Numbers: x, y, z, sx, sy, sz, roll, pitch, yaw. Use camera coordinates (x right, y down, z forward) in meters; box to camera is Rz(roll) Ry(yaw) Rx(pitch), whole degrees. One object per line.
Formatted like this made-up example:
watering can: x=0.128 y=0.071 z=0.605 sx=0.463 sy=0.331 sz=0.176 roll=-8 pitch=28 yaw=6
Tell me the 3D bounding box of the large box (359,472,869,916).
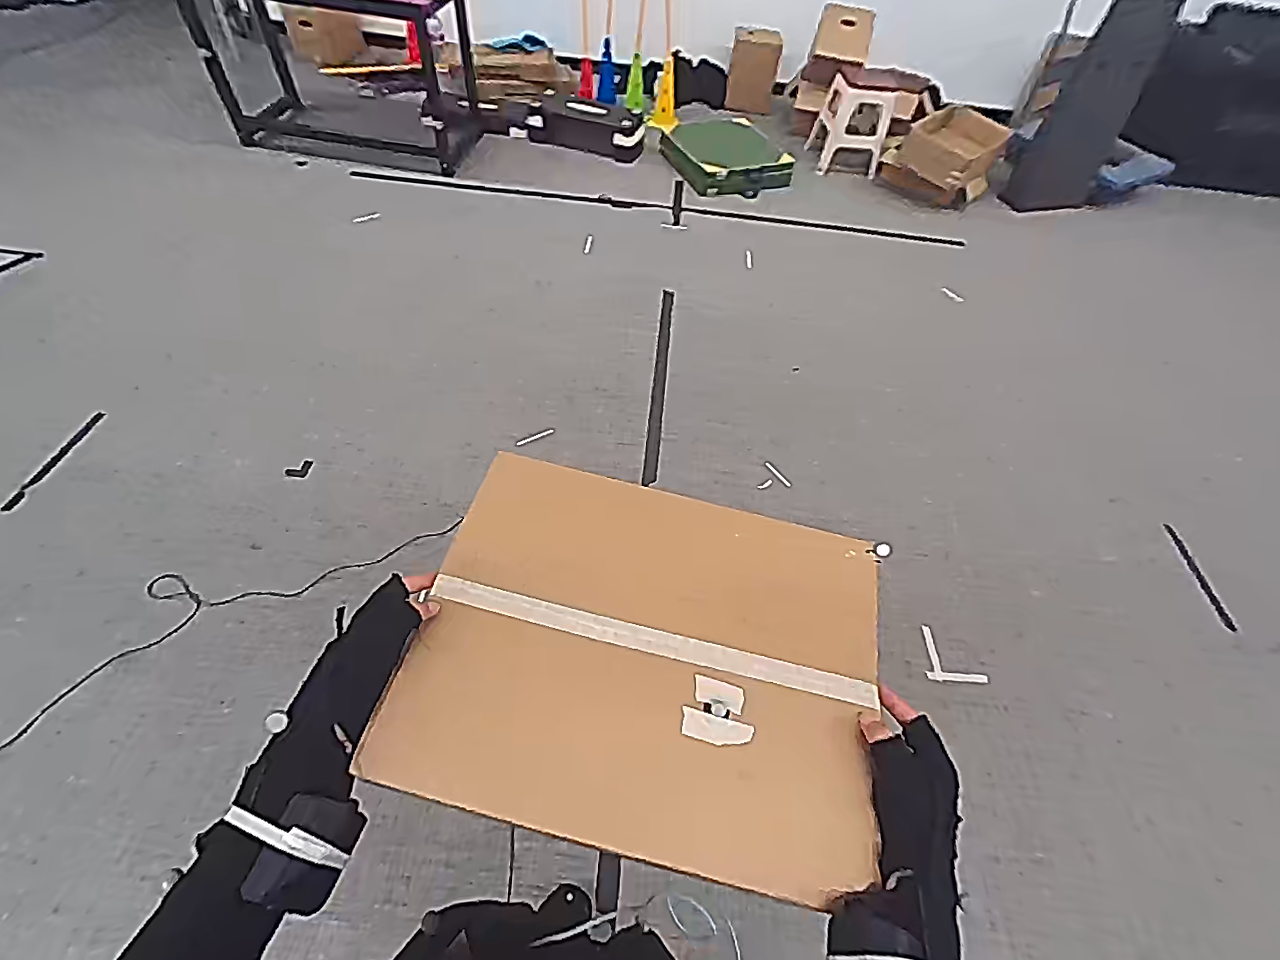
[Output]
large box: x=-0.009 y=0.236 z=0.610 sx=0.408 sy=0.320 sz=0.320 roll=14 pitch=57 yaw=2
